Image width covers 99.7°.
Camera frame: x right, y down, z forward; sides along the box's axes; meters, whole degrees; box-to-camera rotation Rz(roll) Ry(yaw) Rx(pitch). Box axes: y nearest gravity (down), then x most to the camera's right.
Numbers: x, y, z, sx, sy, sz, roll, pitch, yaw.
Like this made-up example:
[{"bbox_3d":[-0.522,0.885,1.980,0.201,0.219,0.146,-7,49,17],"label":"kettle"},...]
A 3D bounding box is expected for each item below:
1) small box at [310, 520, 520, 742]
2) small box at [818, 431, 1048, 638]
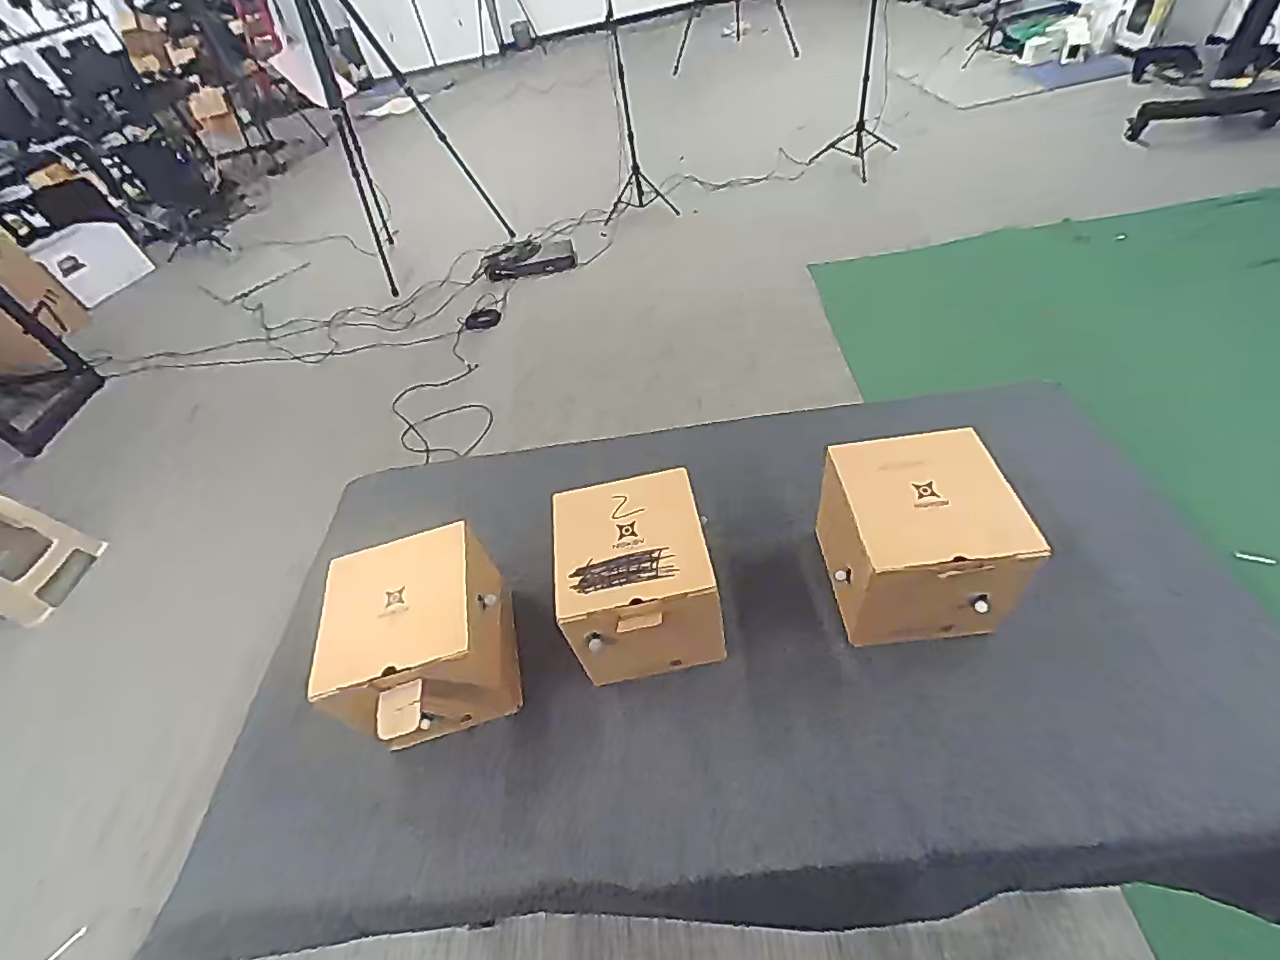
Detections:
[{"bbox_3d":[-0.252,0.181,0.646,0.168,0.176,0.179,-16,48,-3],"label":"small box"},{"bbox_3d":[0.314,0.070,0.627,0.168,0.176,0.179,-7,47,5],"label":"small box"}]
